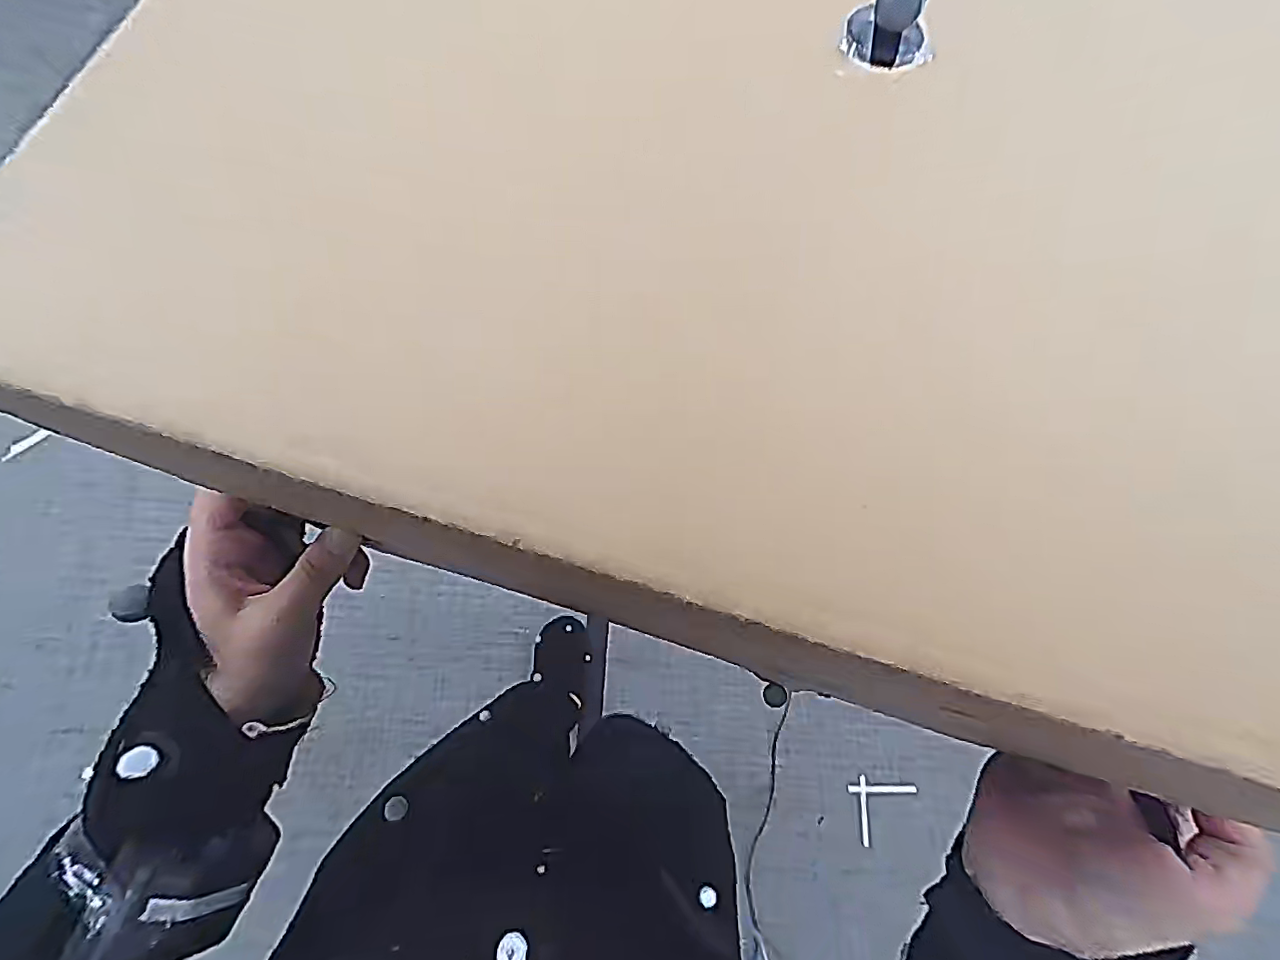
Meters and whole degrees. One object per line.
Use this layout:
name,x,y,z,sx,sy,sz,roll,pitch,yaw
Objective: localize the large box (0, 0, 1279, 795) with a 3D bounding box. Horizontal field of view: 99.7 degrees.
large box,0.046,-0.080,0.293,0.408,0.320,0.320,16,75,4
